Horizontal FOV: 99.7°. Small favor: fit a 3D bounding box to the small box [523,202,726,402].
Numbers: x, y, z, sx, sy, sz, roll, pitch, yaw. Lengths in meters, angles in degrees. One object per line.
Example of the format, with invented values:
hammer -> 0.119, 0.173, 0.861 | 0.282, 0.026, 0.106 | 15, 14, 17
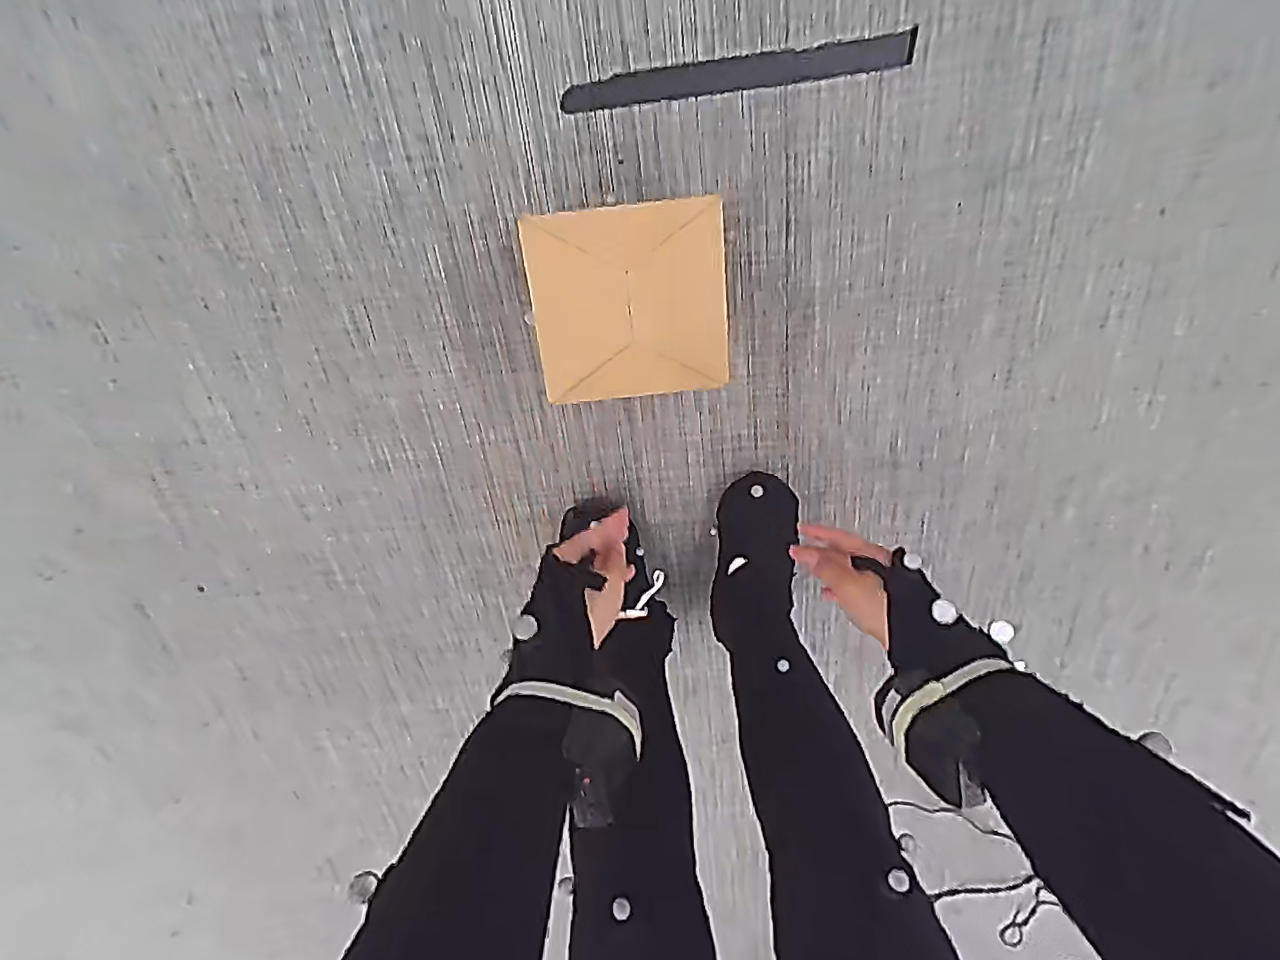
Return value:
small box -> -0.010, -0.187, 0.562 | 0.179, 0.176, 0.168 | -6, 114, 0
